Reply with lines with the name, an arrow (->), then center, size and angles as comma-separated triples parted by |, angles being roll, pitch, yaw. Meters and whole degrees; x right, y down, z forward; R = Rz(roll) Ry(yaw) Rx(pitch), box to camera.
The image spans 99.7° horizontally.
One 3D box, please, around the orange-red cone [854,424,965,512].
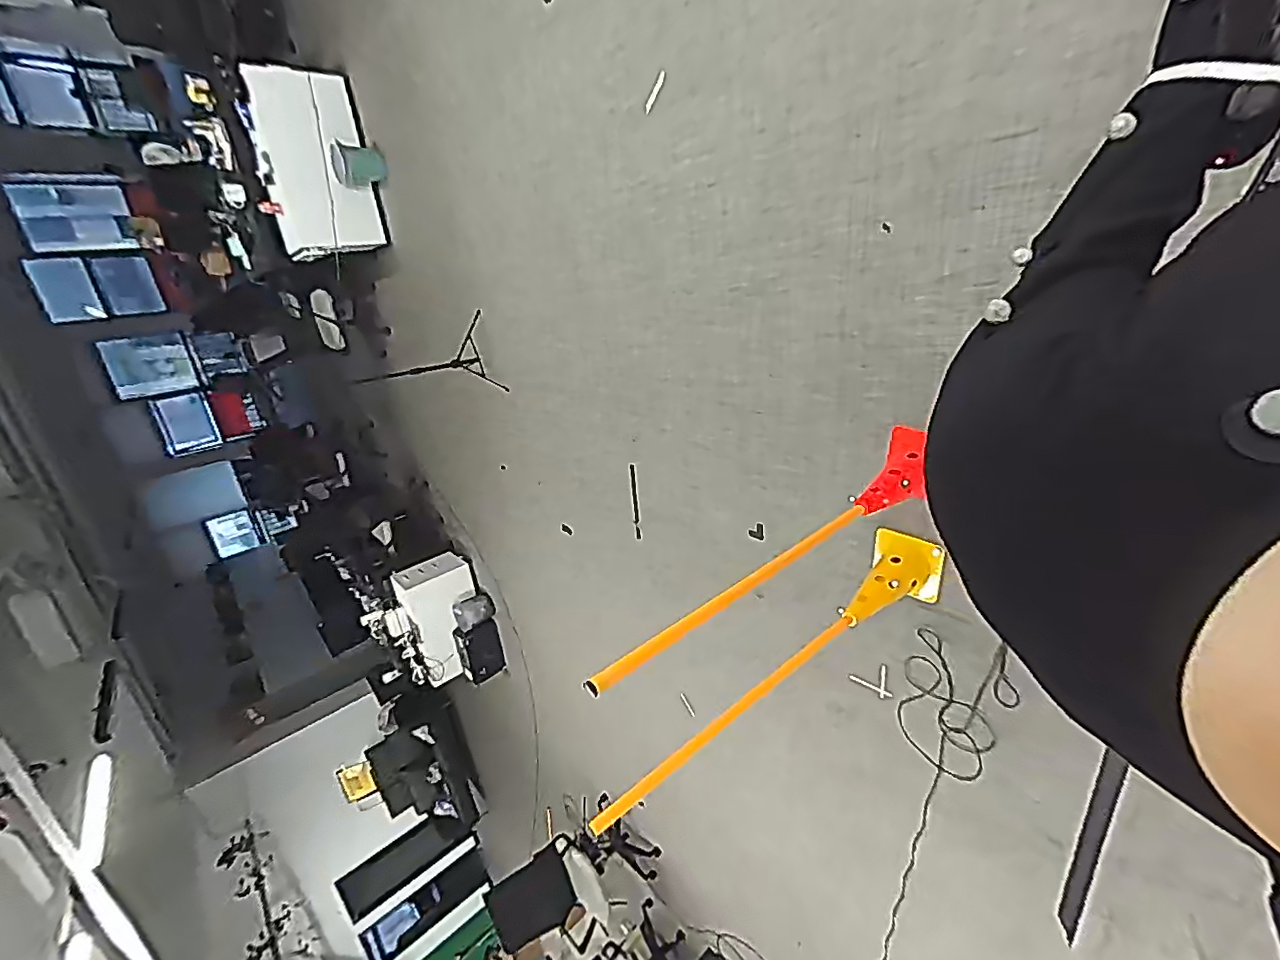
orange-red cone -> 0.659, 0.005, 1.405 | 0.198, 0.360, 0.199 | 25, 125, 41
